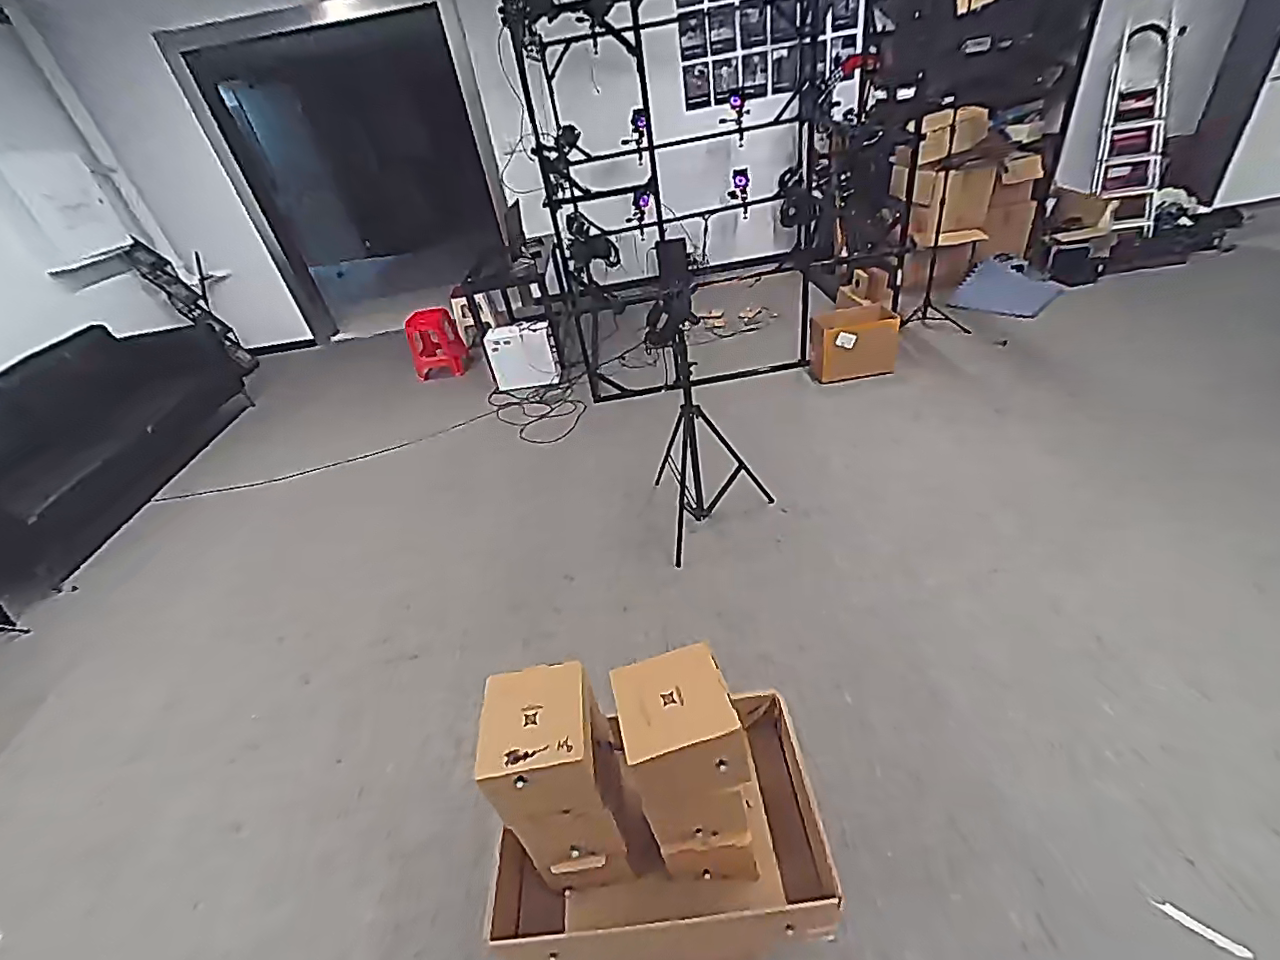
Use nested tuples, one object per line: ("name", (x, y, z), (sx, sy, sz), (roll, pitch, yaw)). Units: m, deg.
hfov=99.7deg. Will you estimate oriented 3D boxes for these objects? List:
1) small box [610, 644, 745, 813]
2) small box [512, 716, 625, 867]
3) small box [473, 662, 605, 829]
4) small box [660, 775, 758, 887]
("small box", (0.064, 0.405, 0.885), (0.179, 0.176, 0.168), (-17, 35, -2))
("small box", (-0.124, 0.569, 0.991), (0.168, 0.176, 0.179), (-11, 36, 1))
("small box", (-0.157, 0.437, 0.895), (0.168, 0.176, 0.179), (-12, 34, 1))
("small box", (0.132, 0.667, 1.069), (0.168, 0.176, 0.179), (-10, 36, 6))
